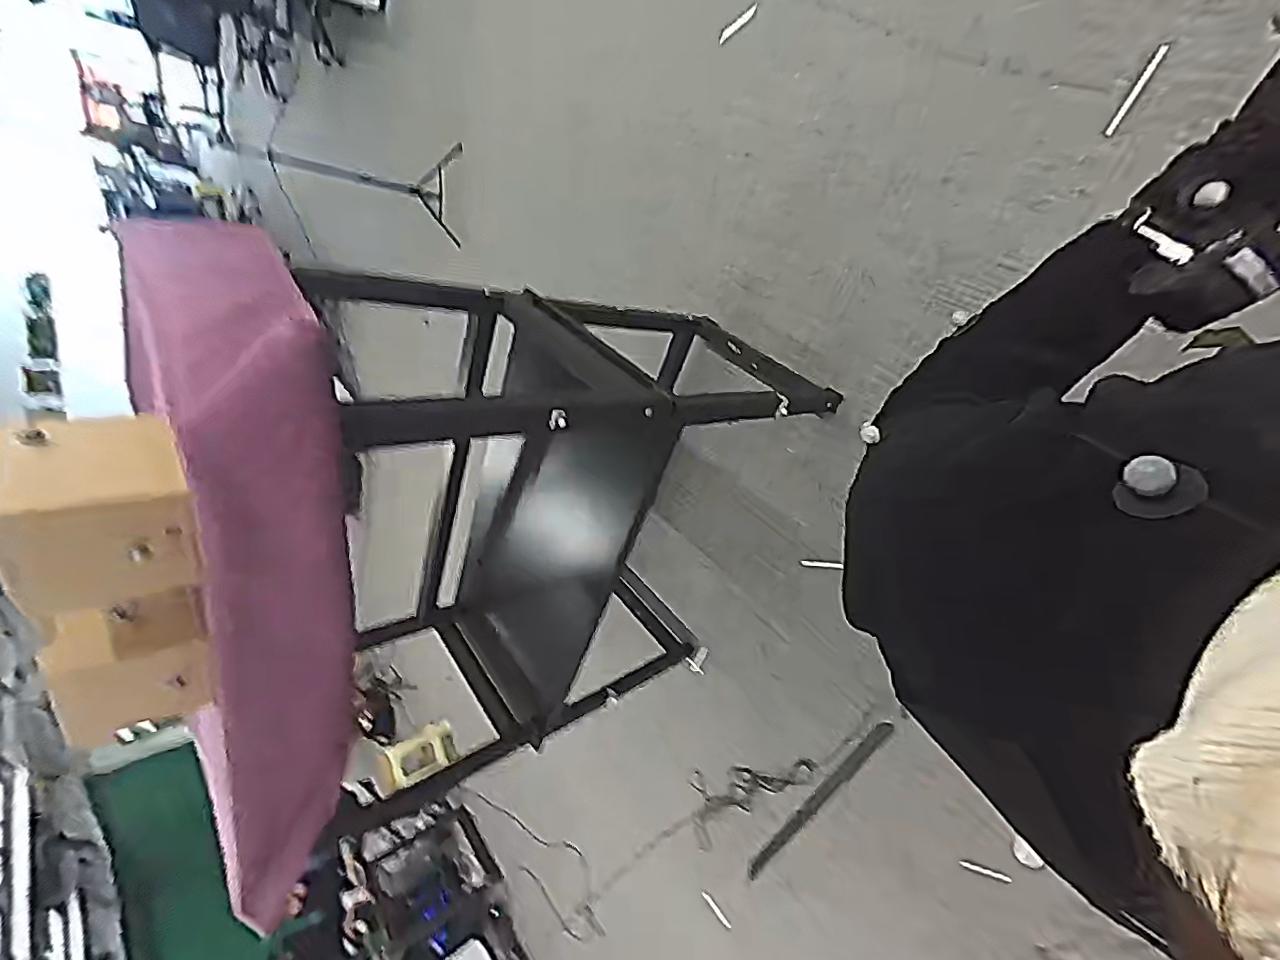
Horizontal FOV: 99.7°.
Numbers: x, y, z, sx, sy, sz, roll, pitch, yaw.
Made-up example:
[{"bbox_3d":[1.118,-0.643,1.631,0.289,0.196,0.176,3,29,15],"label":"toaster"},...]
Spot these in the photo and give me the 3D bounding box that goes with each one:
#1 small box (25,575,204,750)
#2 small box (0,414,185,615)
[{"bbox_3d":[-0.773,0.251,0.804,0.168,0.176,0.179,46,127,31],"label":"small box"},{"bbox_3d":[-0.689,0.031,0.673,0.179,0.176,0.168,46,128,31],"label":"small box"}]
